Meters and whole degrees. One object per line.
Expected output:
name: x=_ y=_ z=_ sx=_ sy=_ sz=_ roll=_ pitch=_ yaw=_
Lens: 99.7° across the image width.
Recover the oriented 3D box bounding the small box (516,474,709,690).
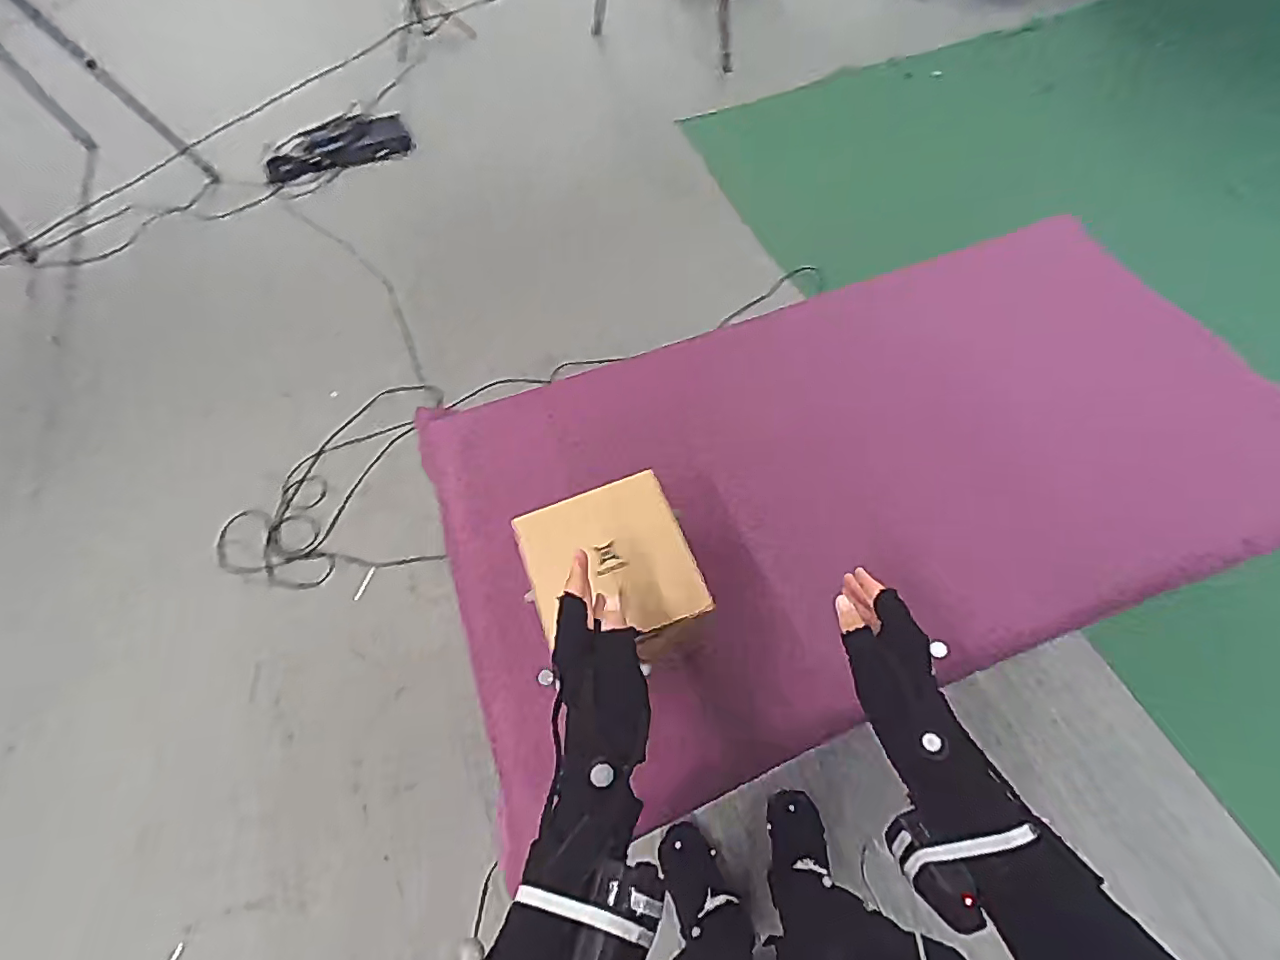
small box: x=-0.031 y=0.127 z=0.643 sx=0.168 sy=0.176 sz=0.179 roll=-21 pitch=62 yaw=-7
